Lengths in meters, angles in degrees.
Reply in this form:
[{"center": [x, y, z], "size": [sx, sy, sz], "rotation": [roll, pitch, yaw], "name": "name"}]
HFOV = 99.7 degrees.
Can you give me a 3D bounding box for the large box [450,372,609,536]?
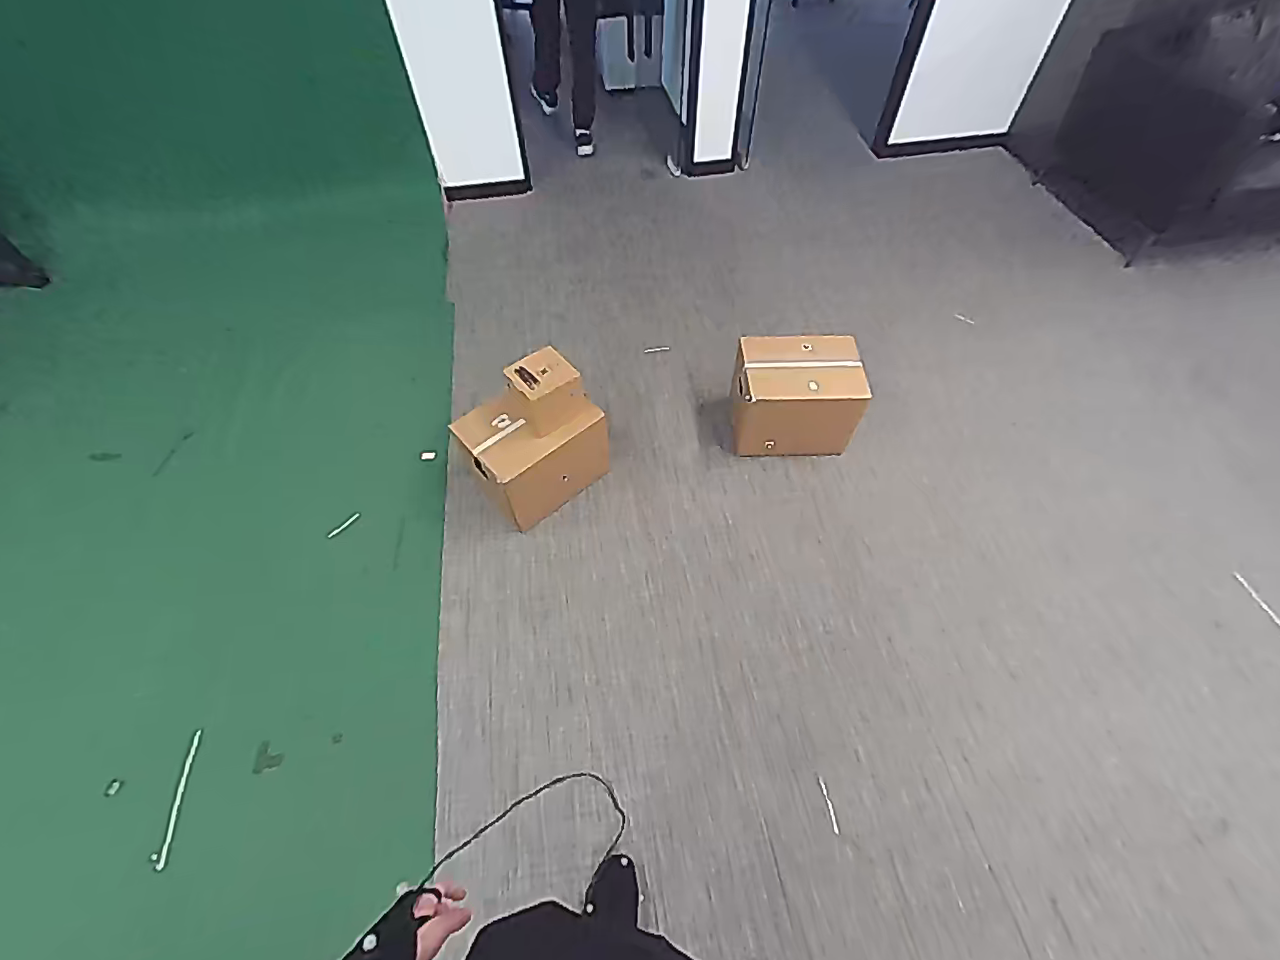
[{"center": [-0.357, -0.088, 1.852], "size": [0.408, 0.320, 0.320], "rotation": [-38, 62, -22], "name": "large box"}]
